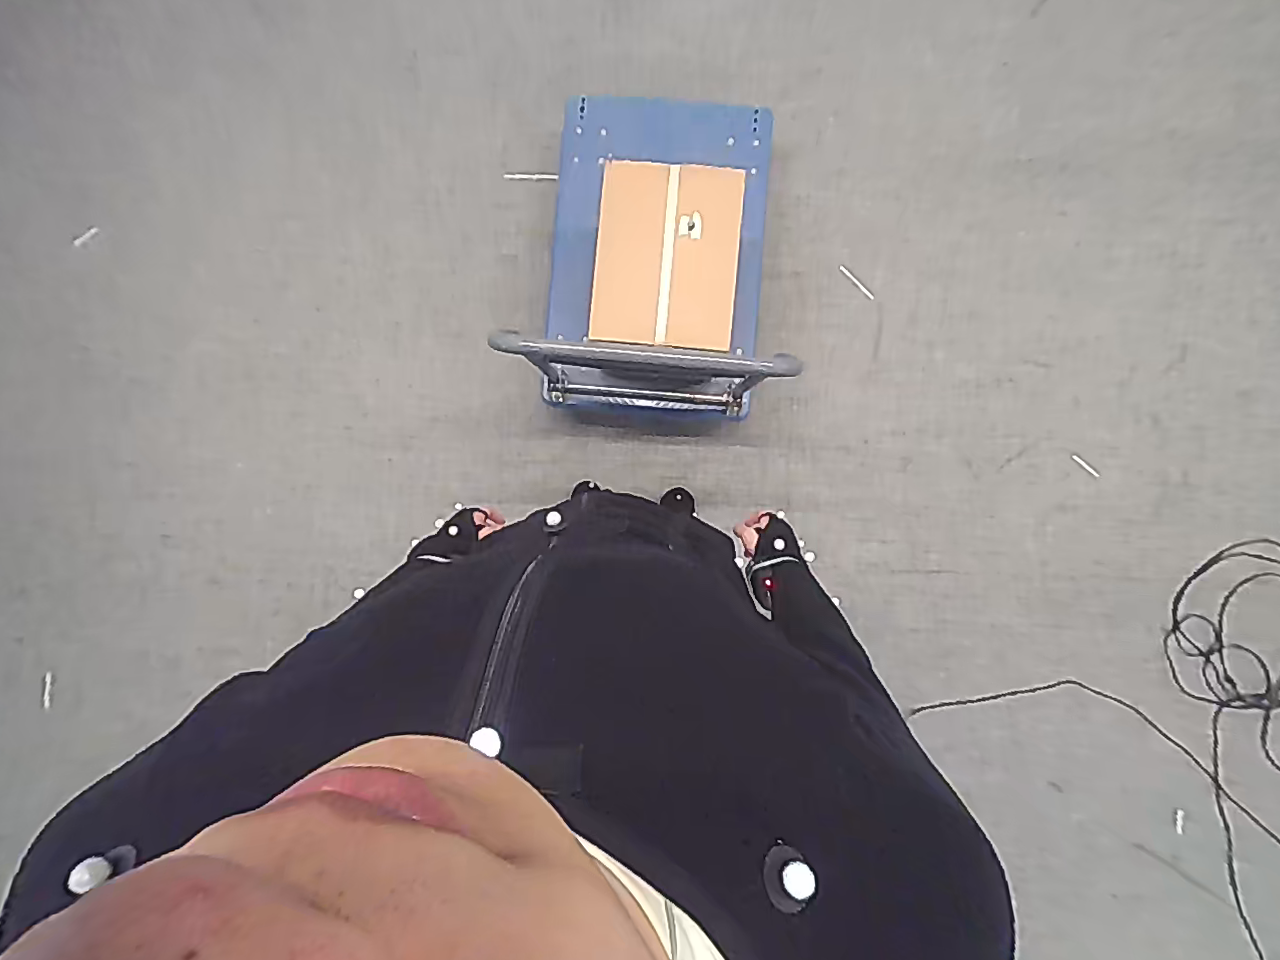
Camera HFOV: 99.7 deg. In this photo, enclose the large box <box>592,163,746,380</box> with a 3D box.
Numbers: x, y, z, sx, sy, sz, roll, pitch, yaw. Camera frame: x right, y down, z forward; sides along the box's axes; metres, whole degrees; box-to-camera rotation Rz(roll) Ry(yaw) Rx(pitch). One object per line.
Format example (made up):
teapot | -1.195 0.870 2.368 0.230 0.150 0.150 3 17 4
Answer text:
large box | 0.067 -0.478 1.319 0.320 0.320 0.408 5 88 0
